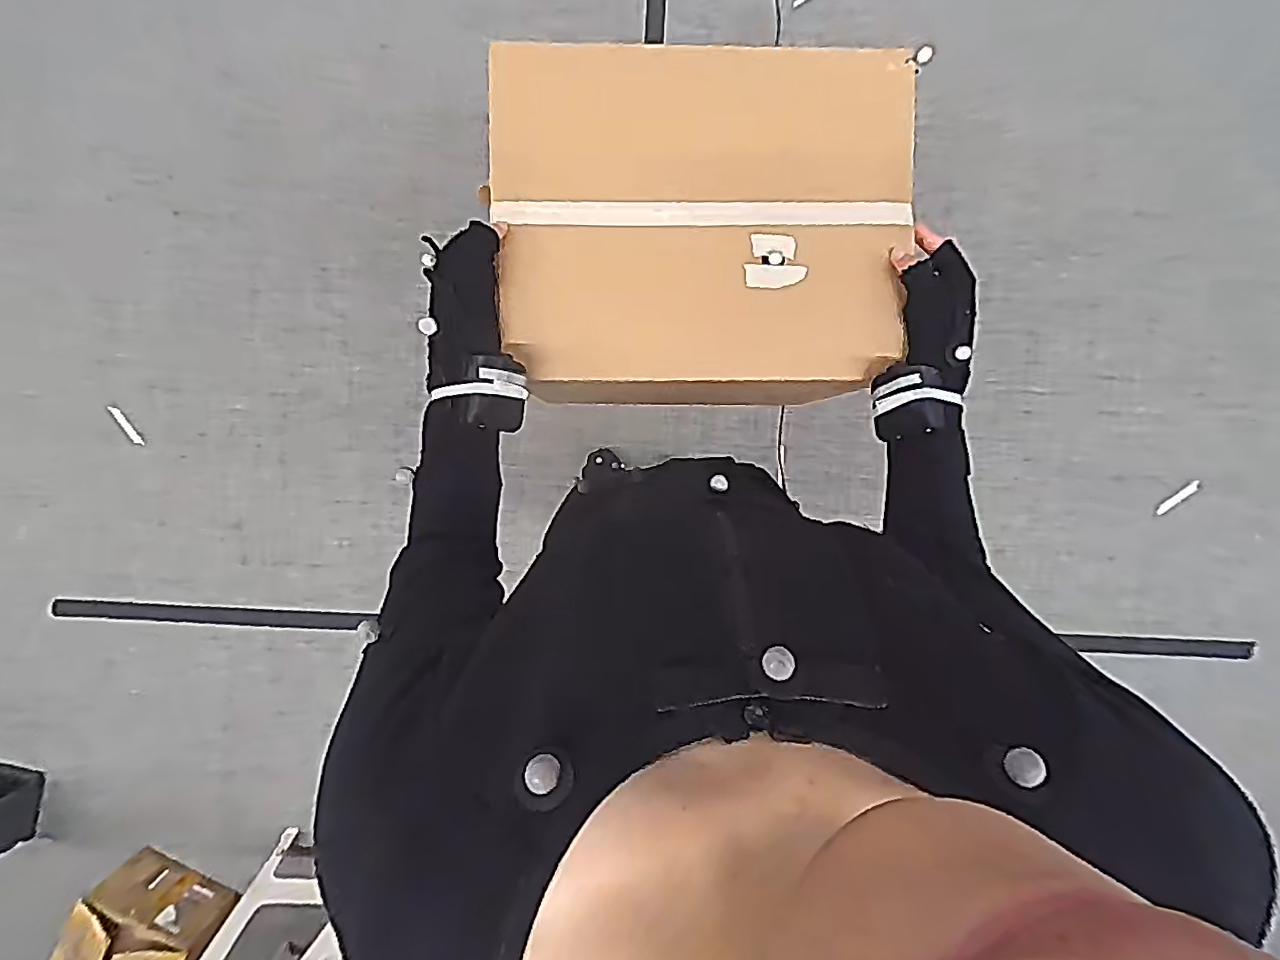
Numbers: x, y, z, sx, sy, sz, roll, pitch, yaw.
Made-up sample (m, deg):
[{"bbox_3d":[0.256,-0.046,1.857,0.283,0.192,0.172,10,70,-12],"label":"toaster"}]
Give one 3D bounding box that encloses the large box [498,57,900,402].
[{"bbox_3d":[0.055,-0.271,0.688,0.408,0.320,0.320,-1,94,-2],"label":"large box"}]
